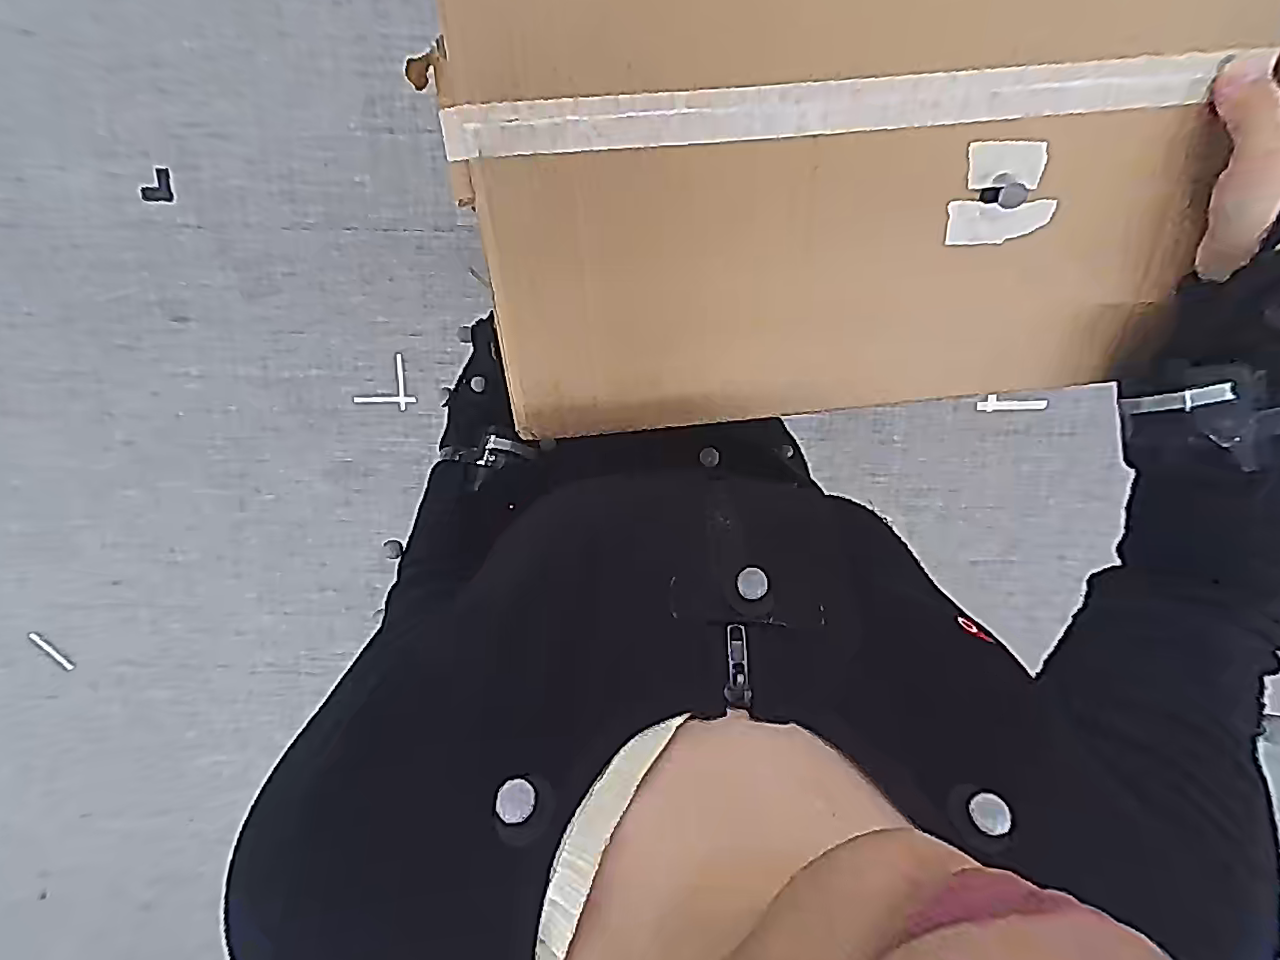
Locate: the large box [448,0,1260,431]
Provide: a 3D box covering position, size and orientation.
[{"bbox_3d":[0.097,-0.255,0.406,0.408,0.320,0.320,-7,117,-4],"label":"large box"}]
